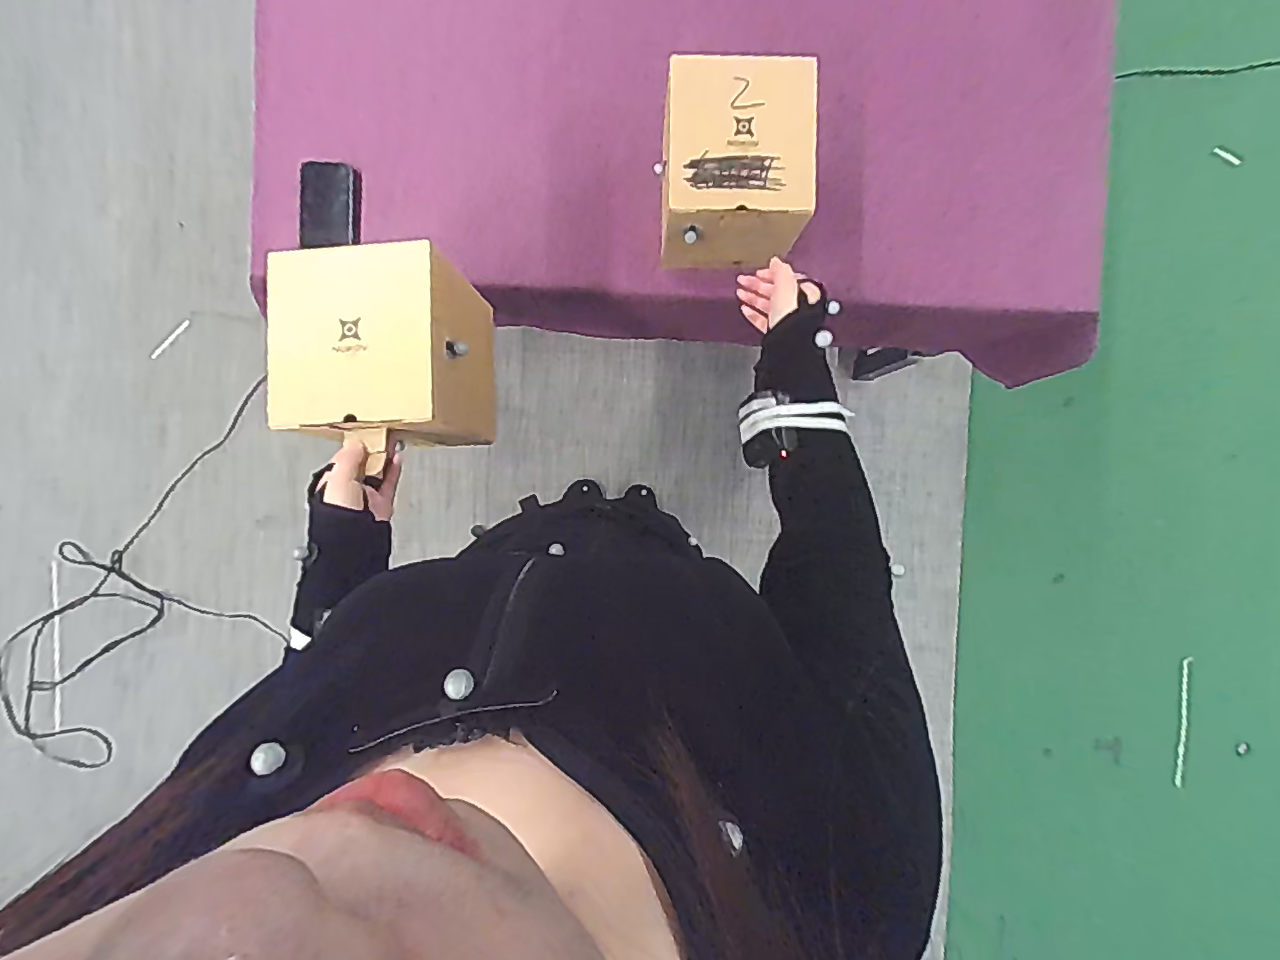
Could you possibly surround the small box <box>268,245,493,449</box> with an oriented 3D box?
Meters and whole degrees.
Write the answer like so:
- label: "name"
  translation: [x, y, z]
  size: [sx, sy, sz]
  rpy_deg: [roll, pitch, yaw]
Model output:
- label: "small box"
  translation: [-0.268, -0.131, 0.593]
  size: [0.168, 0.176, 0.179]
  rpy_deg: [-2, 87, 4]
